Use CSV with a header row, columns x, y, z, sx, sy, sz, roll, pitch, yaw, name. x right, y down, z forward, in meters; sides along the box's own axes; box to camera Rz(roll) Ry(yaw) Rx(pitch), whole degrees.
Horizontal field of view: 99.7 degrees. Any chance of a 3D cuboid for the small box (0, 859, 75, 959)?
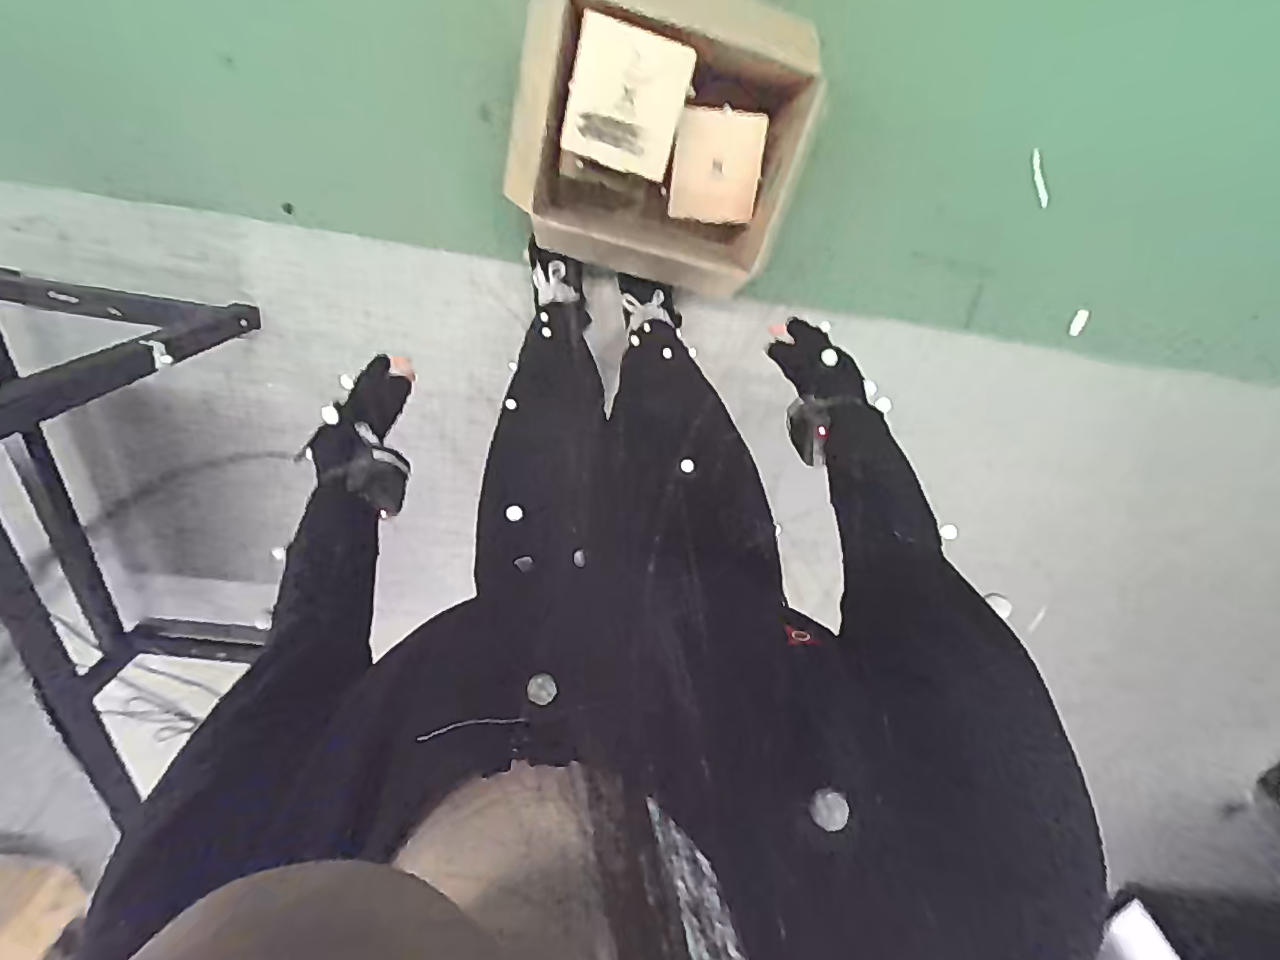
x,y,z,sx,sy,sz,roll,pitch,yaw,name
-1.302,0.882,1.070,0.179,0.176,0.168,11,118,-5,small box
